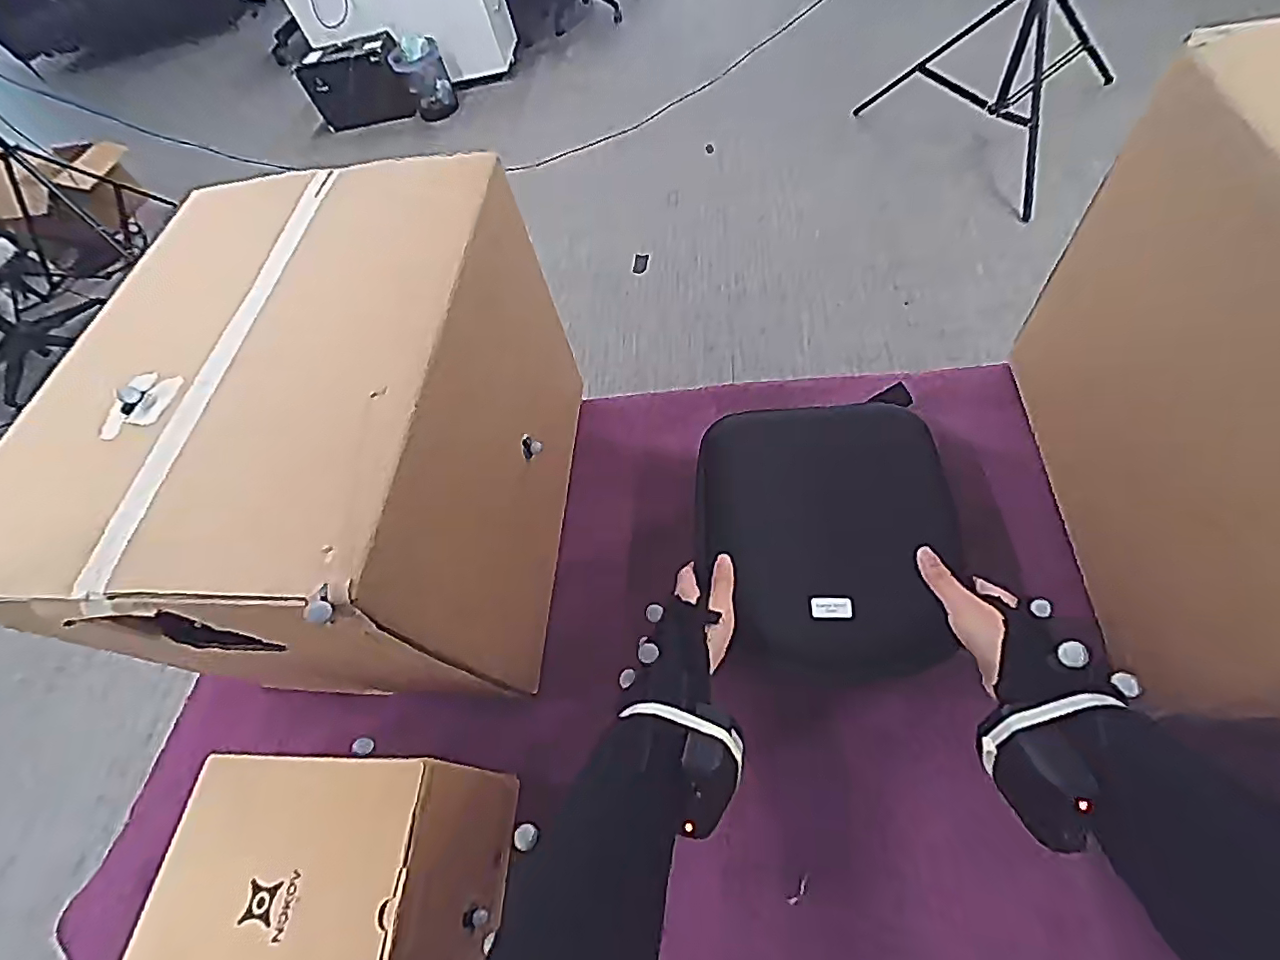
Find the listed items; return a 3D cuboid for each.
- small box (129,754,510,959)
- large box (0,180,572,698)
[{"bbox_3d":[-0.221,0.311,0.409,0.179,0.176,0.168,-4,57,9],"label":"small box"},{"bbox_3d":[-0.265,-0.019,0.537,0.320,0.320,0.408,-2,61,10],"label":"large box"}]
